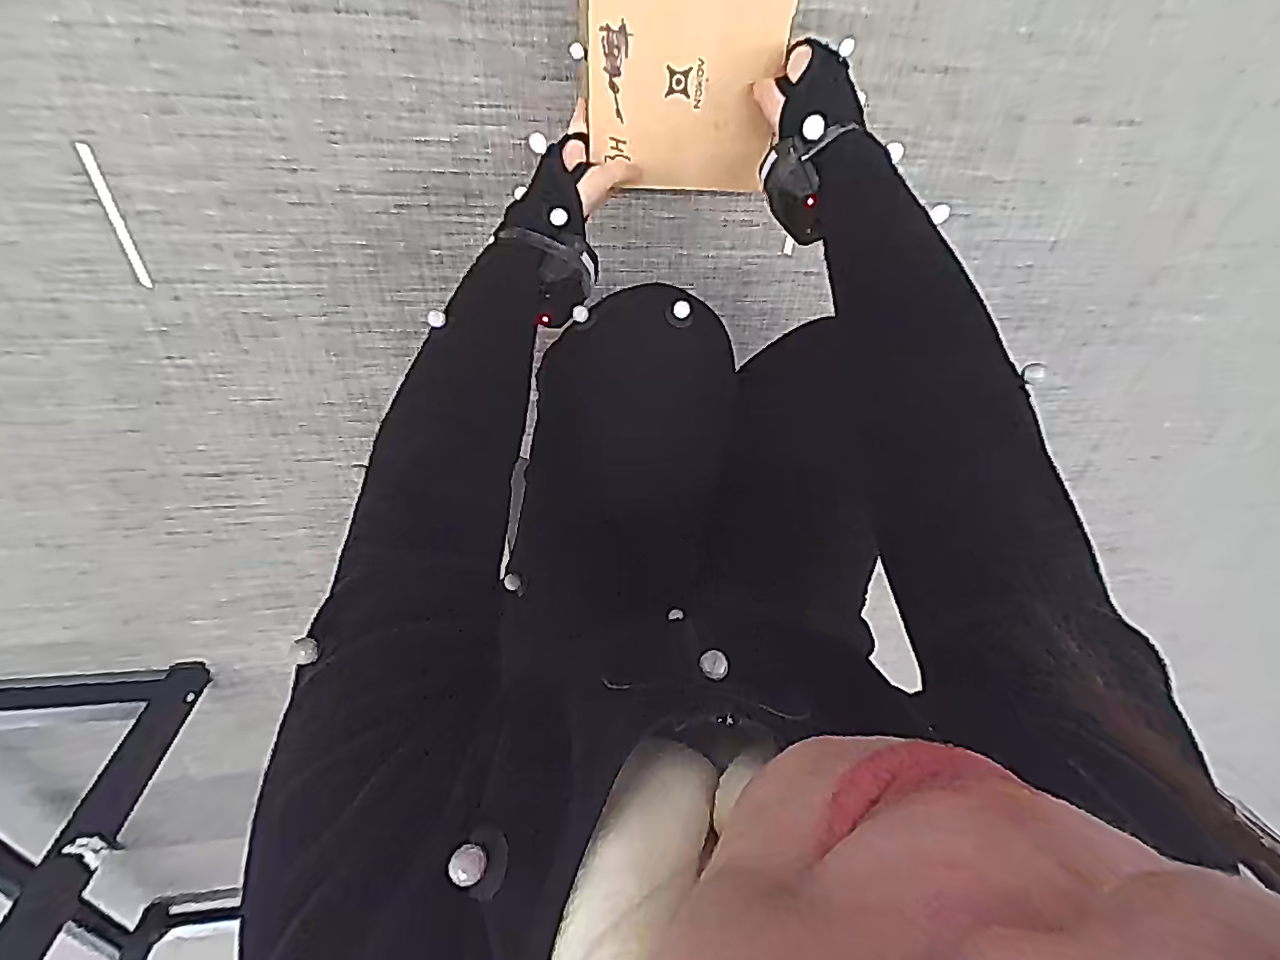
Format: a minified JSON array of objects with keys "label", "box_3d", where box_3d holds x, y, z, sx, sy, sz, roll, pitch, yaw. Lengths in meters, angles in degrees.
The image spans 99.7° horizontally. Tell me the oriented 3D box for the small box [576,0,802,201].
[{"label":"small box","box_3d":[0.030,-0.380,0.526,0.179,0.176,0.168,-2,126,-8]}]
